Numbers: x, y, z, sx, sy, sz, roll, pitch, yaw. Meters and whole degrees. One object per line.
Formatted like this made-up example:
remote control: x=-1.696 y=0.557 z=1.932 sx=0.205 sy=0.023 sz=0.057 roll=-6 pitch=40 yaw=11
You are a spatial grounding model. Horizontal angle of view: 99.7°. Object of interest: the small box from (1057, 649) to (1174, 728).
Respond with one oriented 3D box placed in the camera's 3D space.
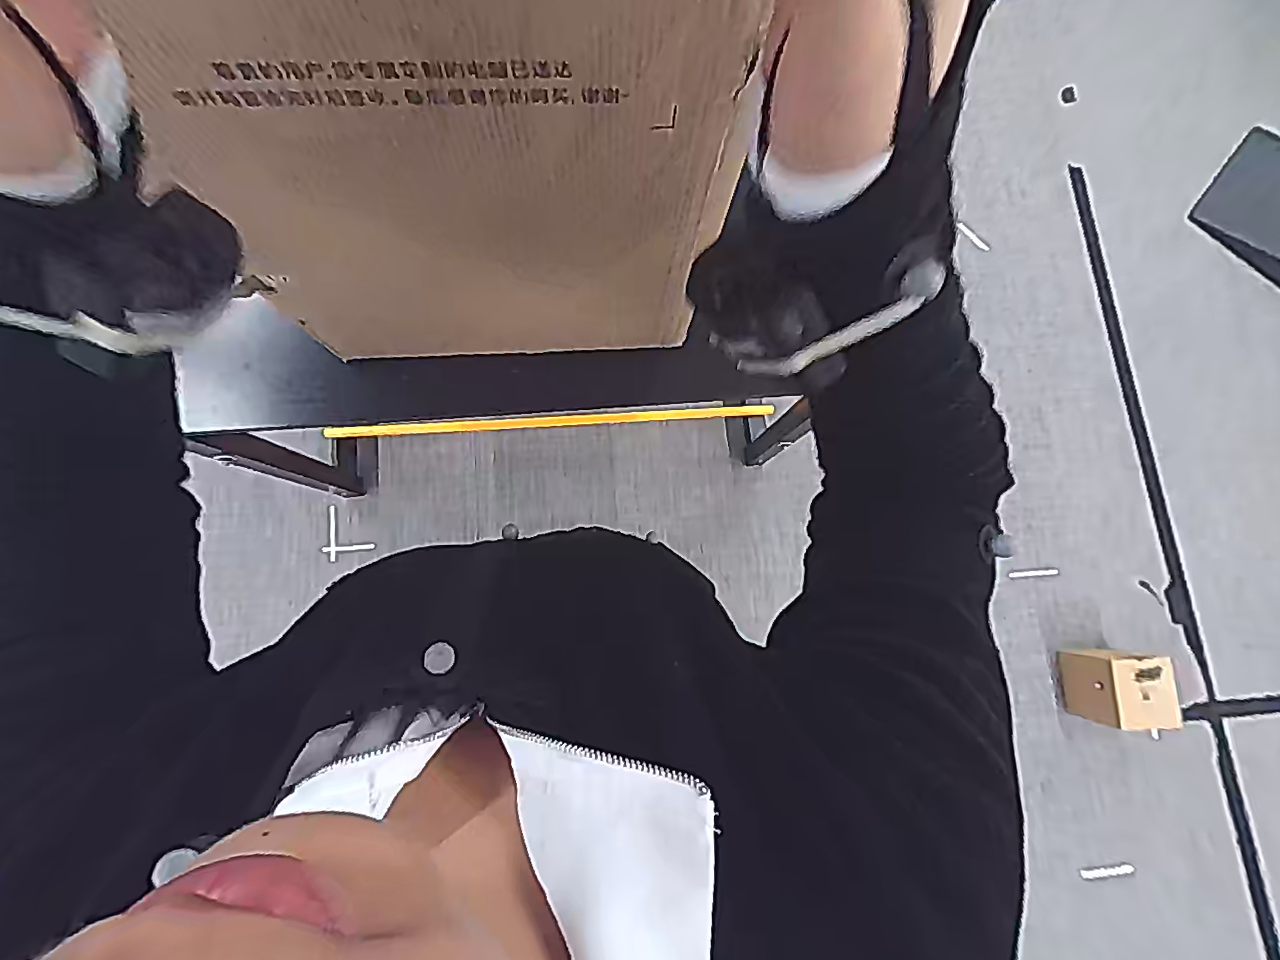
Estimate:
small box: x=1.279 y=0.558 z=1.469 sx=0.168 sy=0.176 sz=0.179 roll=-1 pitch=81 yaw=-4
